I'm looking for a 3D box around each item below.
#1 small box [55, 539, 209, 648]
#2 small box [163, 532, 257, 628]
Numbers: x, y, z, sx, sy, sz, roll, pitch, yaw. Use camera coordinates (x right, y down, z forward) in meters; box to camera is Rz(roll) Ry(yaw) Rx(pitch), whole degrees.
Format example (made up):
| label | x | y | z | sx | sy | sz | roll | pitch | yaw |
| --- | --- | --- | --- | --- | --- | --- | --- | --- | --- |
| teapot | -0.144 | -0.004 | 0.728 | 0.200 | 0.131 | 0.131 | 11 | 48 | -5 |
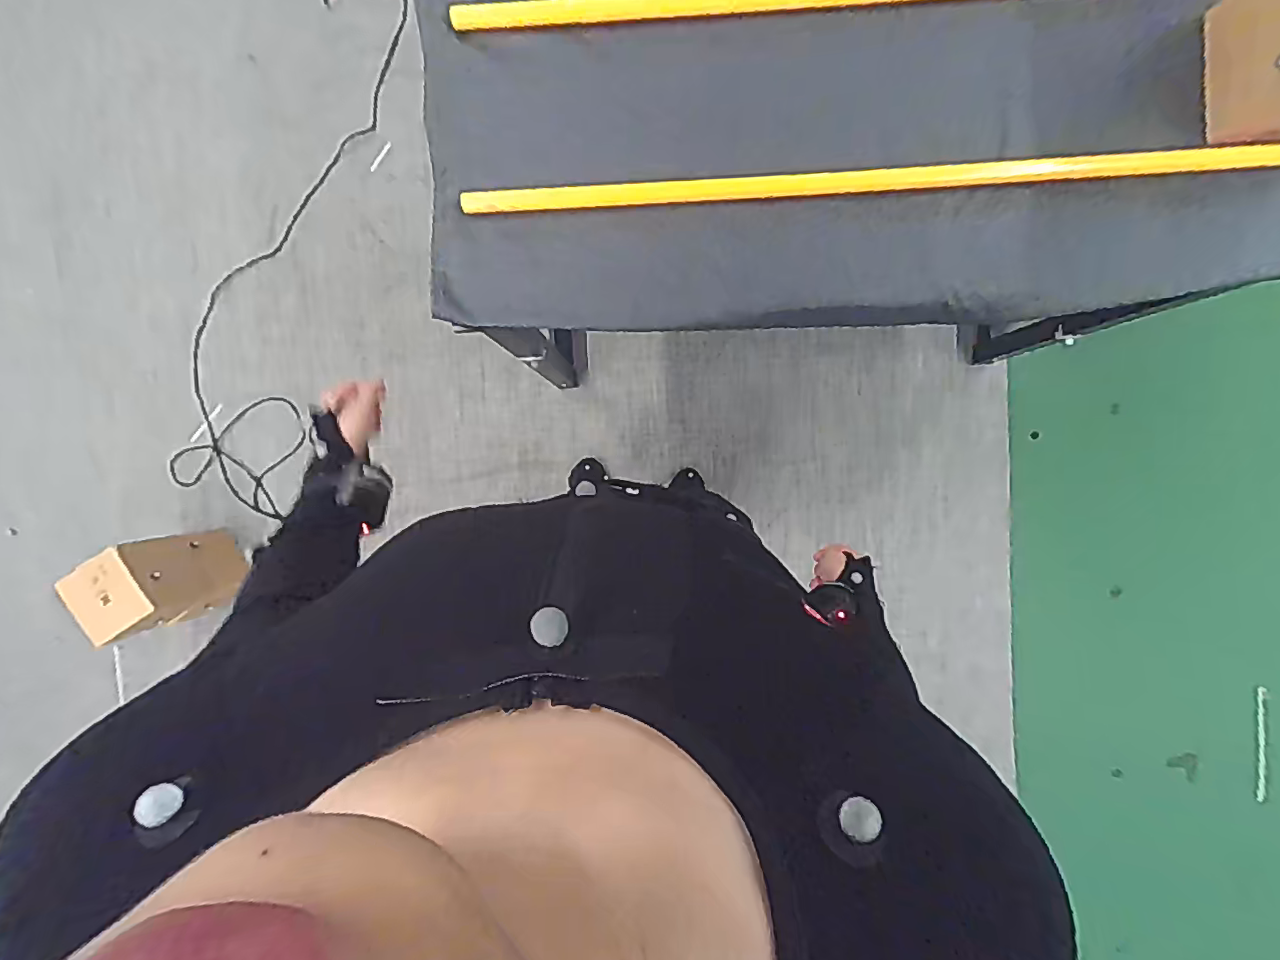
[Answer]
| label | x | y | z | sx | sy | sz | roll | pitch | yaw |
| --- | --- | --- | --- | --- | --- | --- | --- | --- | --- |
| small box | -1.185 | 0.259 | 1.278 | 0.168 | 0.176 | 0.179 | -33 | 91 | 2 |
| small box | -1.183 | 0.257 | 1.443 | 0.168 | 0.176 | 0.179 | -38 | 91 | 2 |
